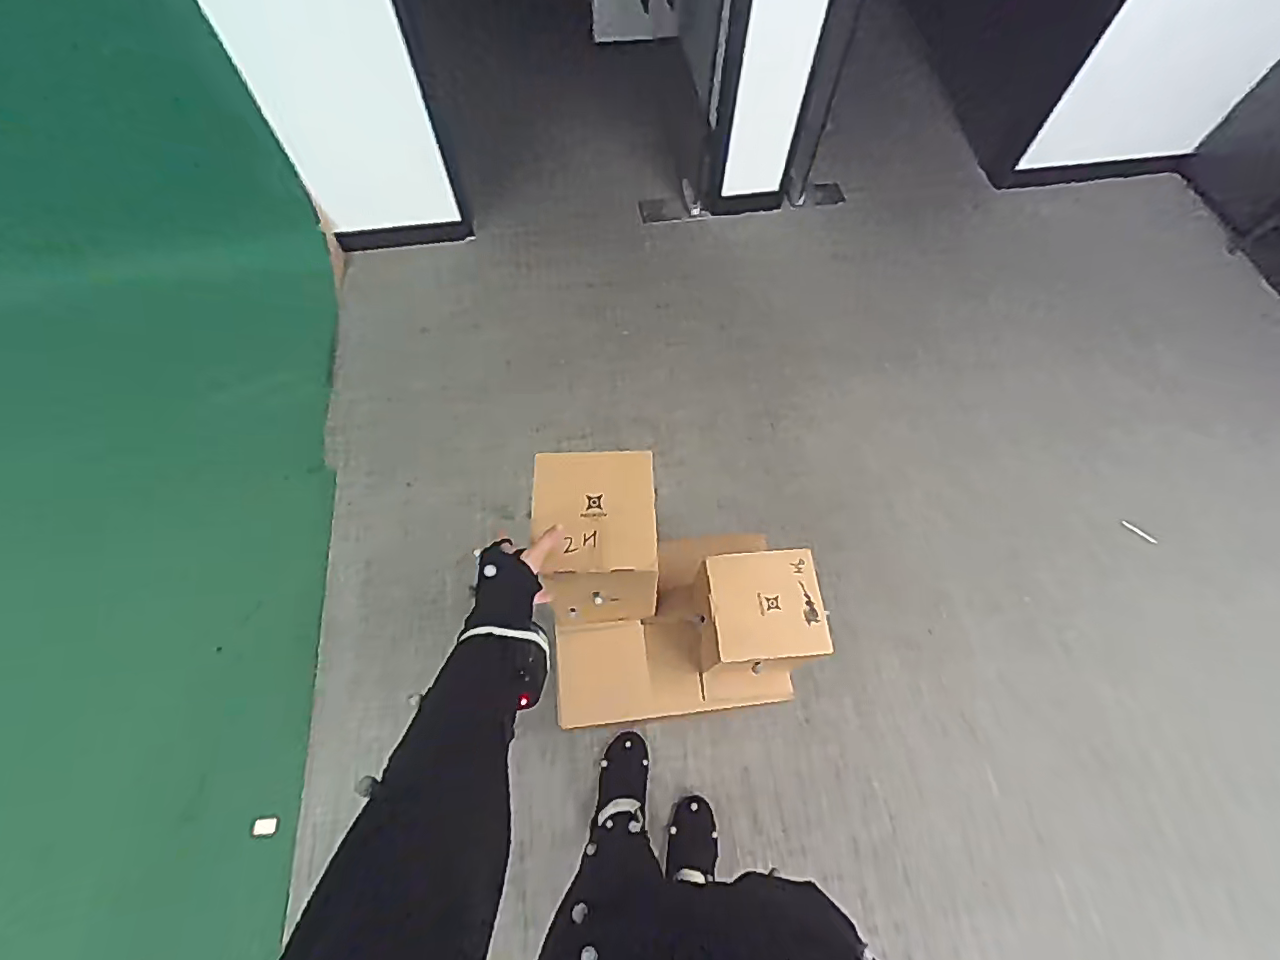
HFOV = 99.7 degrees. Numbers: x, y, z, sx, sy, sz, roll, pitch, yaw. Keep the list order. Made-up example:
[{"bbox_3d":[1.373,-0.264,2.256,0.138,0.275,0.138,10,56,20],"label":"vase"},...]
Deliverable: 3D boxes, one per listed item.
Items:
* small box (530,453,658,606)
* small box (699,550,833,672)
[{"bbox_3d":[-0.061,0.077,0.792,0.168,0.176,0.179,-2,64,0],"label":"small box"},{"bbox_3d":[0.195,0.224,0.901,0.179,0.176,0.168,-4,66,-2],"label":"small box"}]
